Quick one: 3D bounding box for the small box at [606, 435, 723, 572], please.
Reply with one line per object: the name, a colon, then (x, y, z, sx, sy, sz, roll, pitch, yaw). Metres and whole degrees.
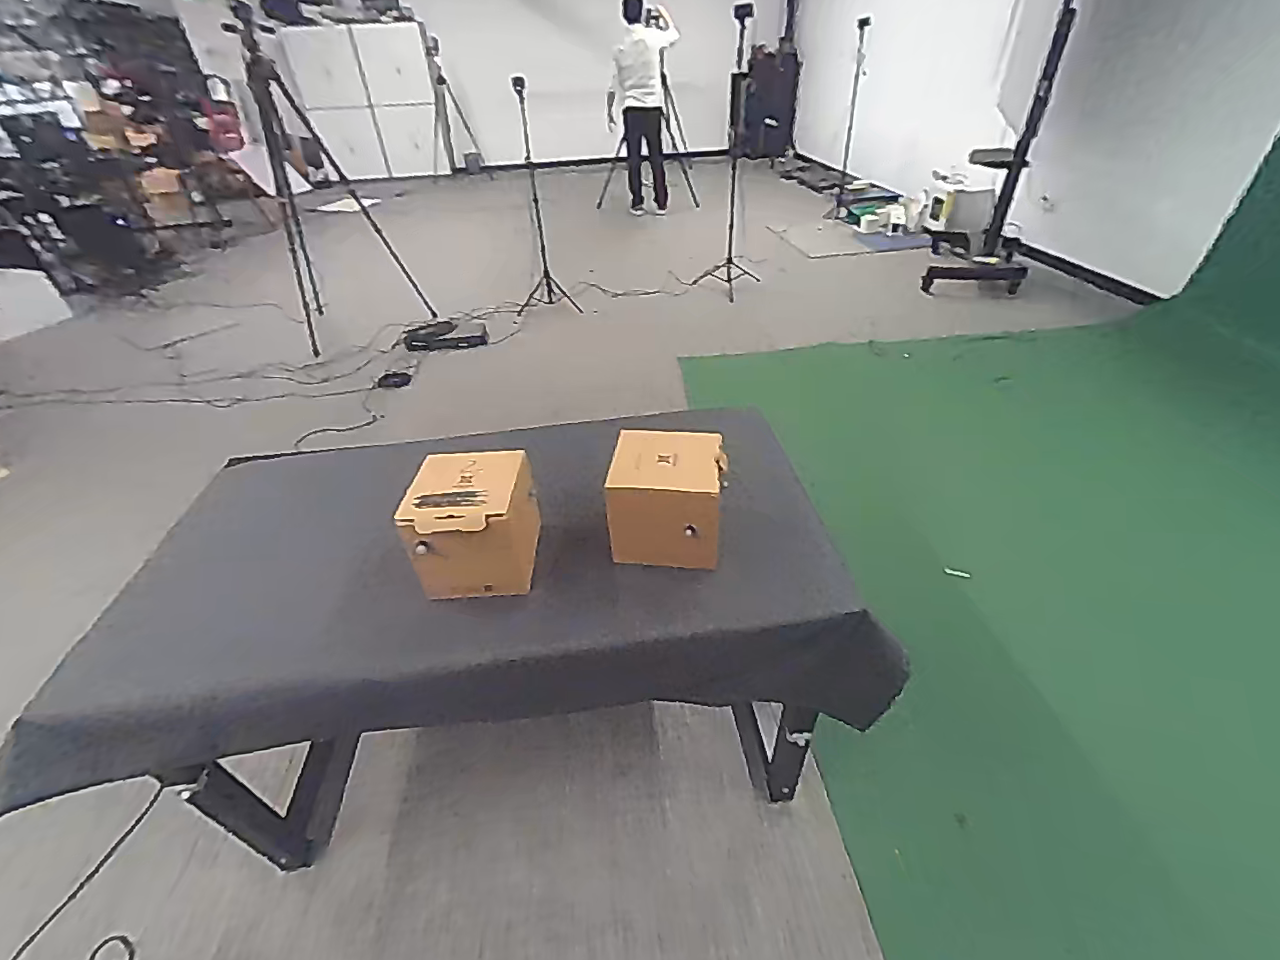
small box: (0.048, 0.040, 0.920, 0.179, 0.176, 0.168, 2, 37, 8)
